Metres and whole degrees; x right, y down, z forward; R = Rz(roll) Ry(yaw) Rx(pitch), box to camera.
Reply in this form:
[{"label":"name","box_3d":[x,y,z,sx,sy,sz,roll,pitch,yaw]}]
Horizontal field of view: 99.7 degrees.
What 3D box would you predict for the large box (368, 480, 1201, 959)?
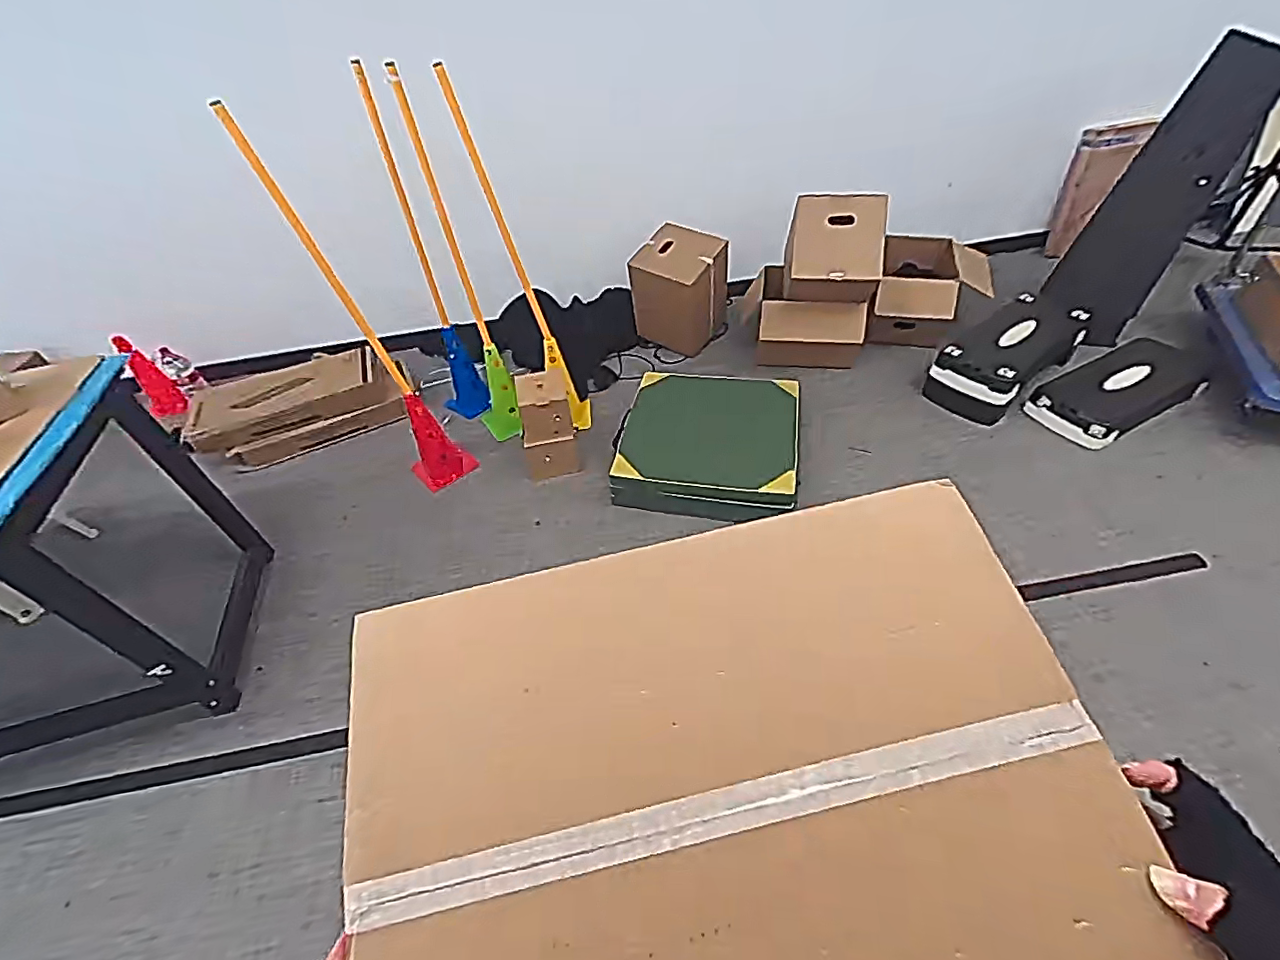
[{"label":"large box","box_3d":[0.057,0.246,0.431,0.408,0.320,0.320,-13,63,-2]}]
